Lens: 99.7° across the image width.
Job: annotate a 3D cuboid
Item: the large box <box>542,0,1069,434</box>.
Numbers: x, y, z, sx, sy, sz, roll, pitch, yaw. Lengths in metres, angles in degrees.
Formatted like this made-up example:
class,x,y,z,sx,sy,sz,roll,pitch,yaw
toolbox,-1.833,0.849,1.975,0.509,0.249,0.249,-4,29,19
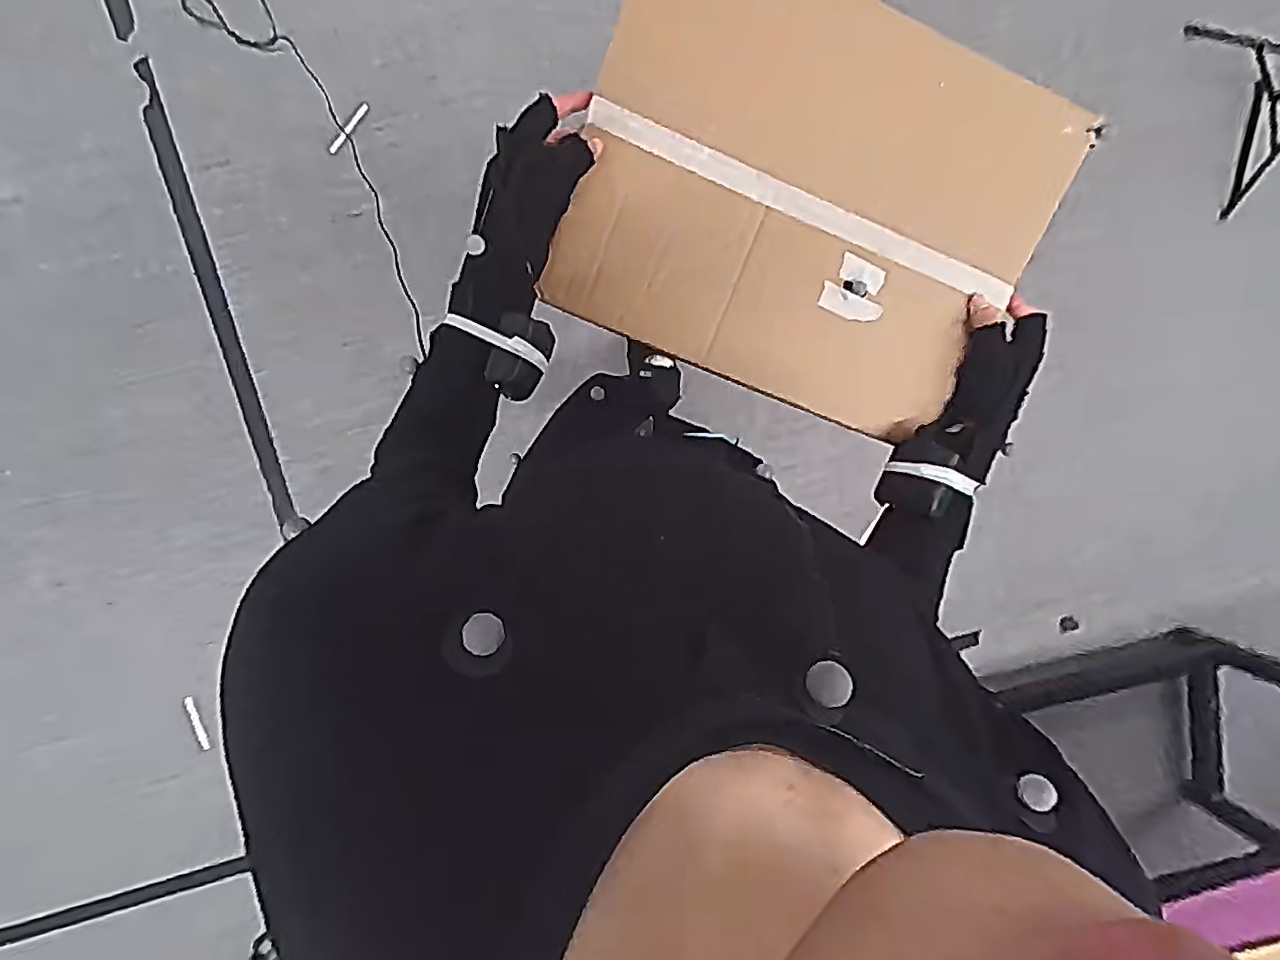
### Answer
class,x,y,z,sx,sy,sz,roll,pitch,yaw
large box,0.137,-0.286,0.631,0.408,0.320,0.320,20,105,-8
